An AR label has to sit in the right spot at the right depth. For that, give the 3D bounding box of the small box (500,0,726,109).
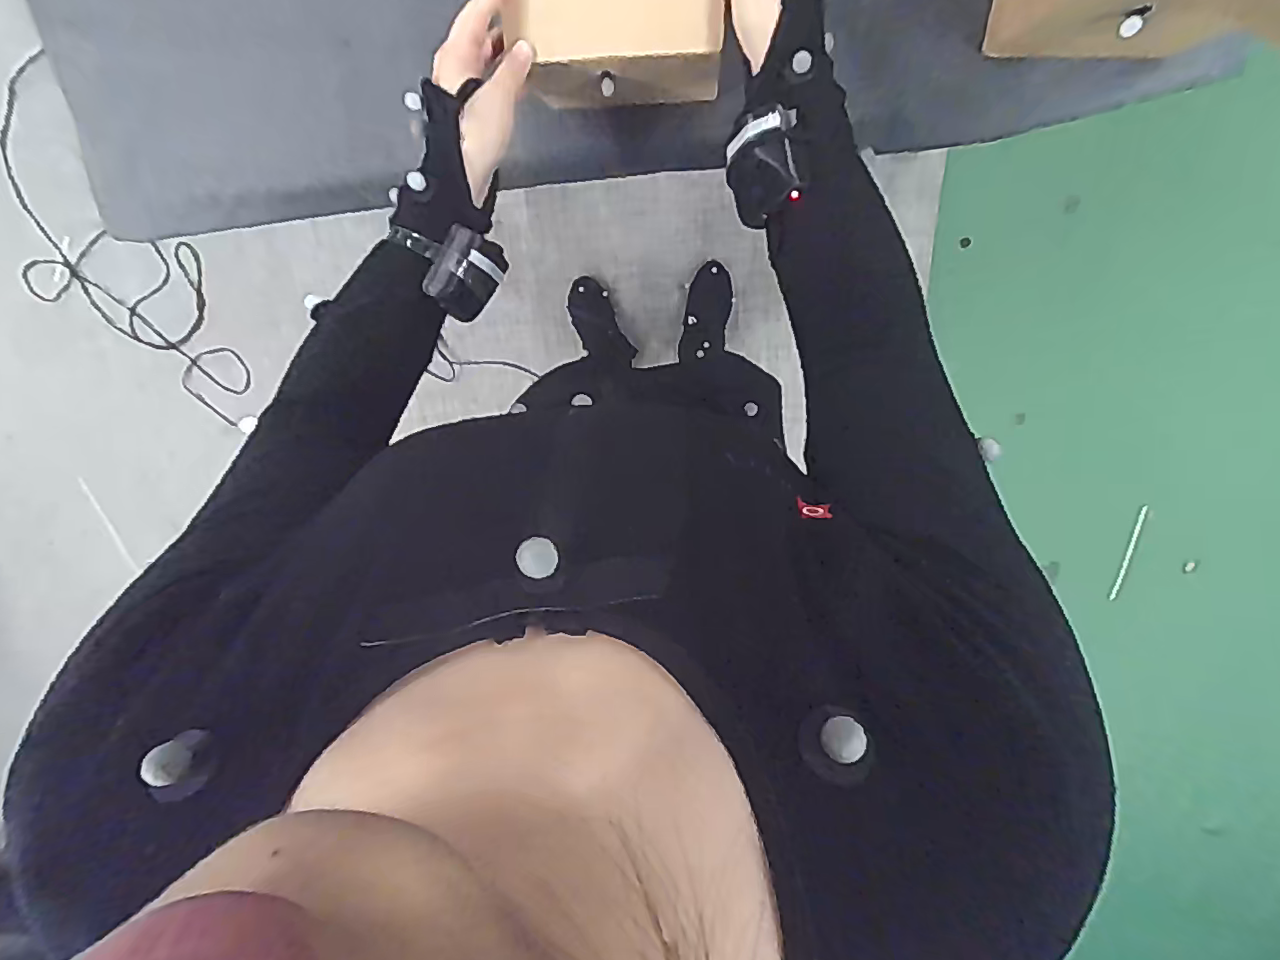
[{"bbox_3d":[-0.014,-0.431,0.462,0.179,0.176,0.168,1,116,5],"label":"small box"}]
